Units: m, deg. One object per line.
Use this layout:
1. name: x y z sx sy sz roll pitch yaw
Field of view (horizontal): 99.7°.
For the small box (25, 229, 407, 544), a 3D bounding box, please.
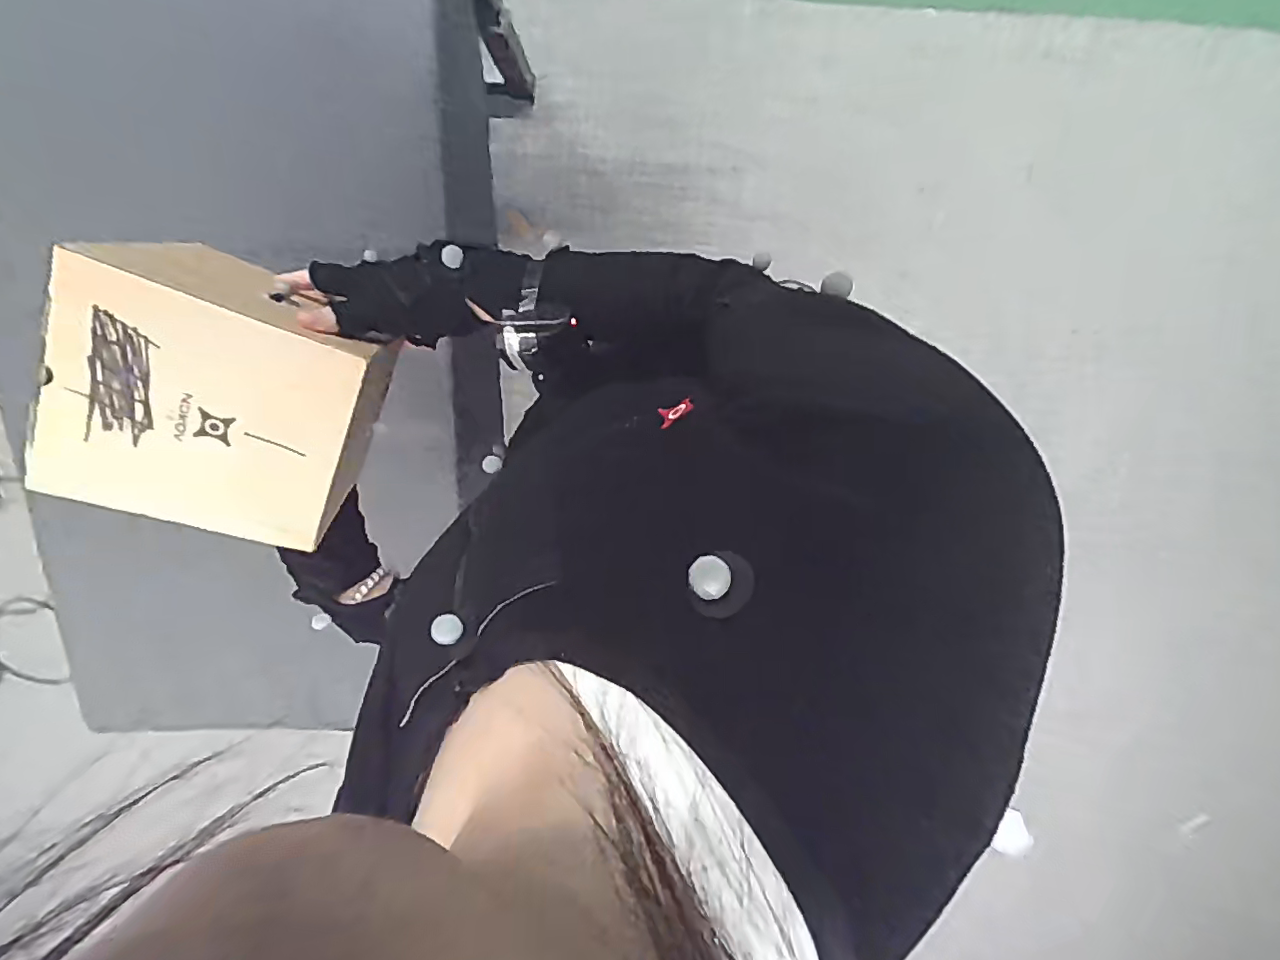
1. small box: -0.311 -0.077 0.435 0.179 0.176 0.168 20 106 -21
